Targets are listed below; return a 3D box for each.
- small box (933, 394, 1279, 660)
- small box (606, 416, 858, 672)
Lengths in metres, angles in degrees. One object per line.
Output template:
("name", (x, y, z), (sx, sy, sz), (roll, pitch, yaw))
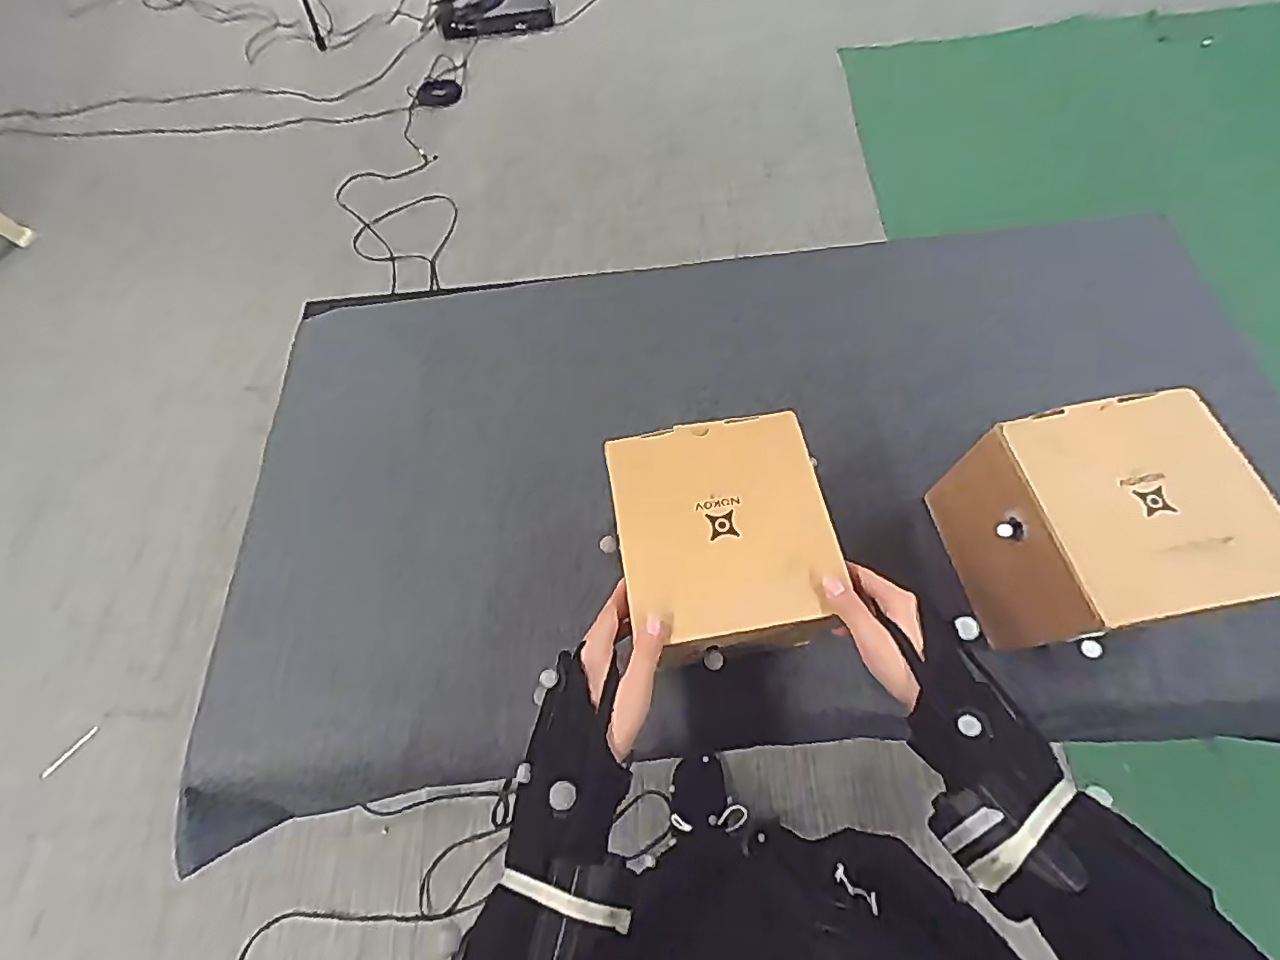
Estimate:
("small box", (0.404, 0.052, 0.492), (0.168, 0.176, 0.179), (-12, 65, 1))
("small box", (0.070, 0.070, 0.490), (0.168, 0.176, 0.179), (-10, 64, -1))
